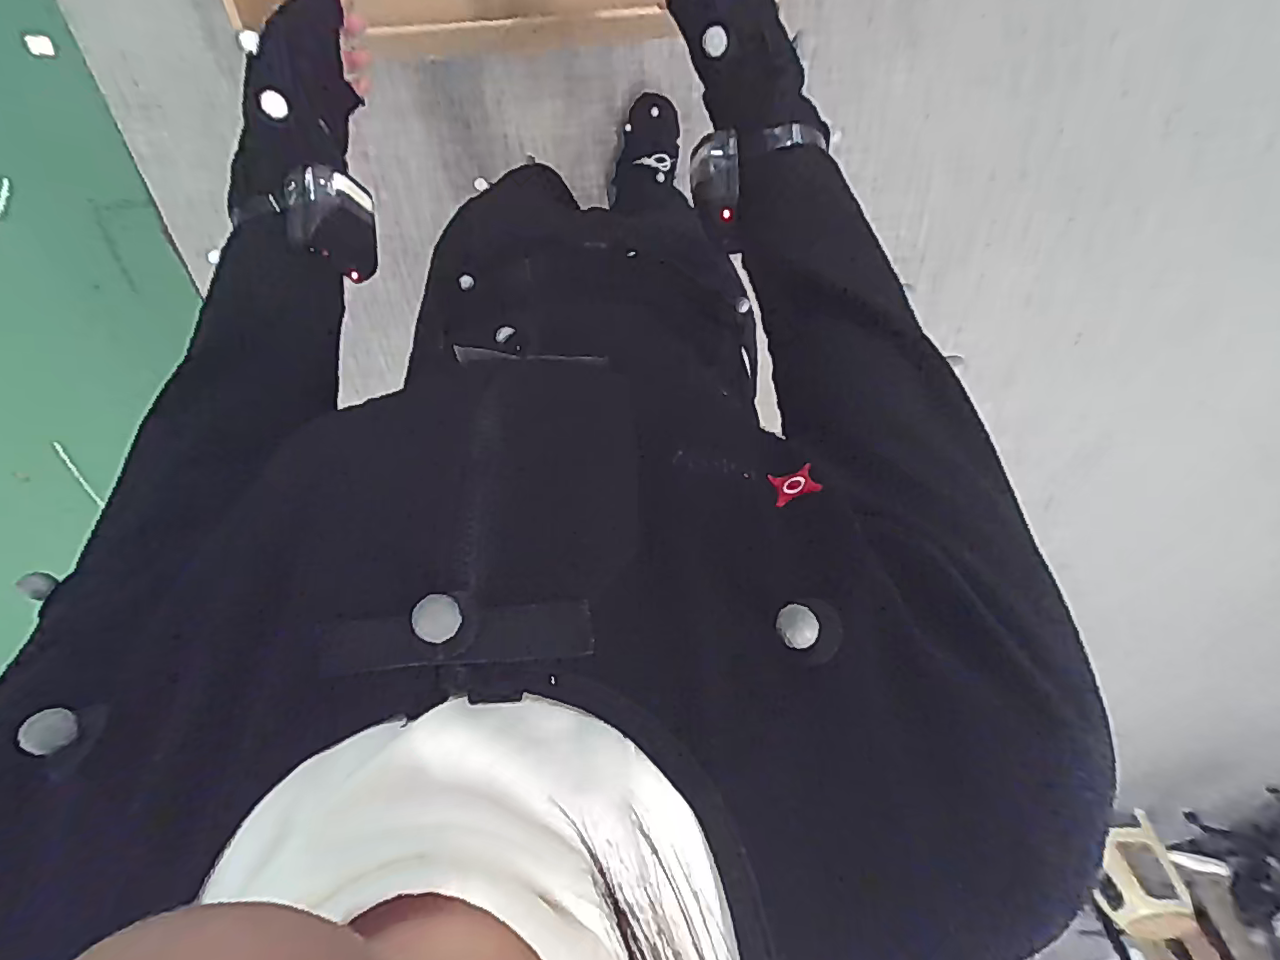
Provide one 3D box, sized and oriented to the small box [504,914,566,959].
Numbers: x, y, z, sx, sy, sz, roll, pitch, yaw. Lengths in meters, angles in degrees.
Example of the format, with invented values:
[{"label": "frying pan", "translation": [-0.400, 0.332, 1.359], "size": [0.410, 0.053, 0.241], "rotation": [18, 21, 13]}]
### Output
[{"label": "small box", "translation": [-0.346, 1.579, 1.801], "size": [0.168, 0.176, 0.179], "rotation": [-5, 125, 3]}]
